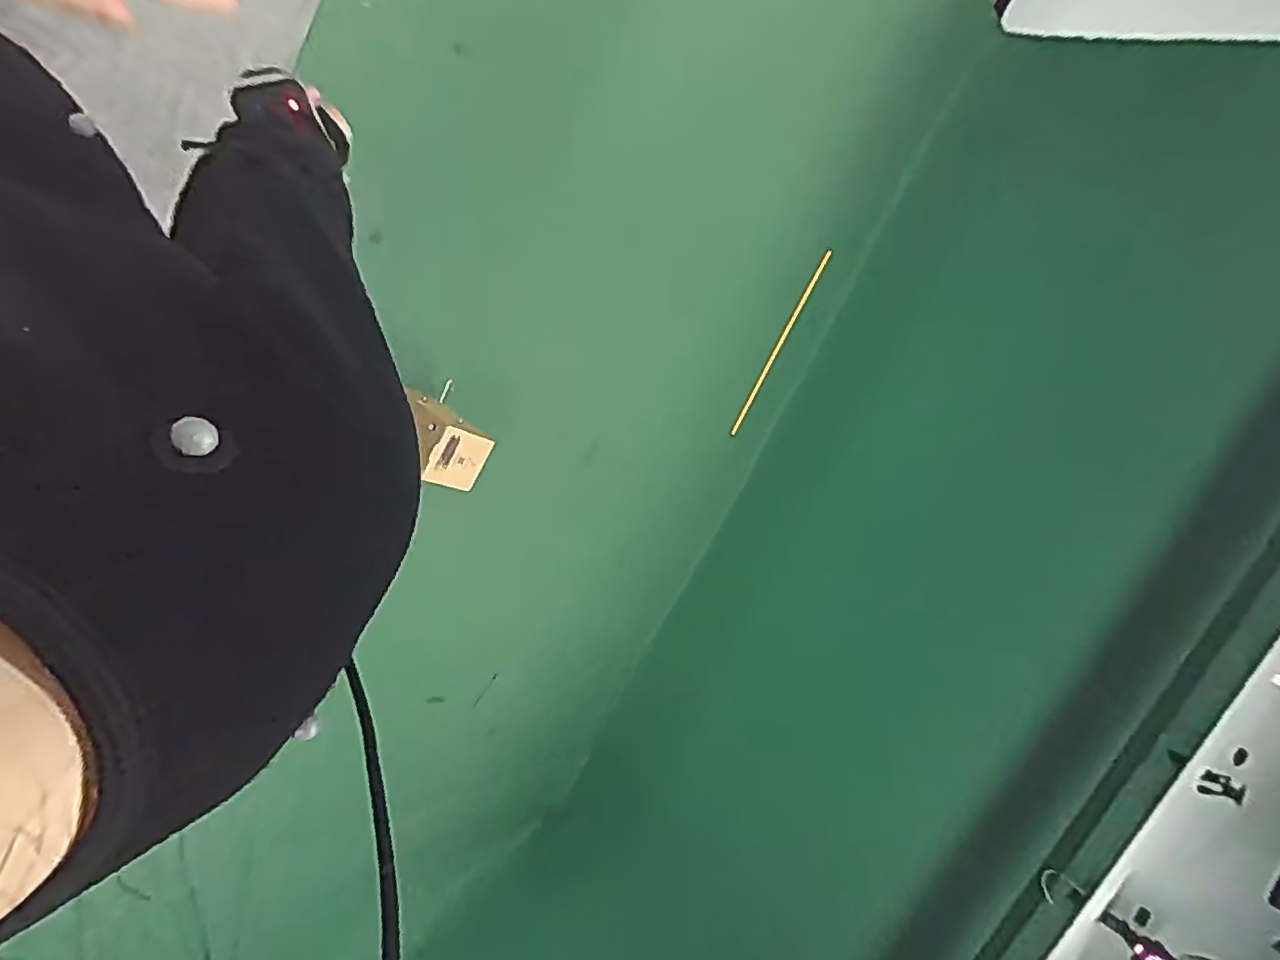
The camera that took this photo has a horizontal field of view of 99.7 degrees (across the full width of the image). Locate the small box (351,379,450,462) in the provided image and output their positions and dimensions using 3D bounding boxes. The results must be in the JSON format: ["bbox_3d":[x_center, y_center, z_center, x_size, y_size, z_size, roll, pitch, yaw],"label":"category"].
[{"bbox_3d":[-0.712,-0.177,1.605,0.168,0.176,0.179,-60,149,4],"label":"small box"}]
